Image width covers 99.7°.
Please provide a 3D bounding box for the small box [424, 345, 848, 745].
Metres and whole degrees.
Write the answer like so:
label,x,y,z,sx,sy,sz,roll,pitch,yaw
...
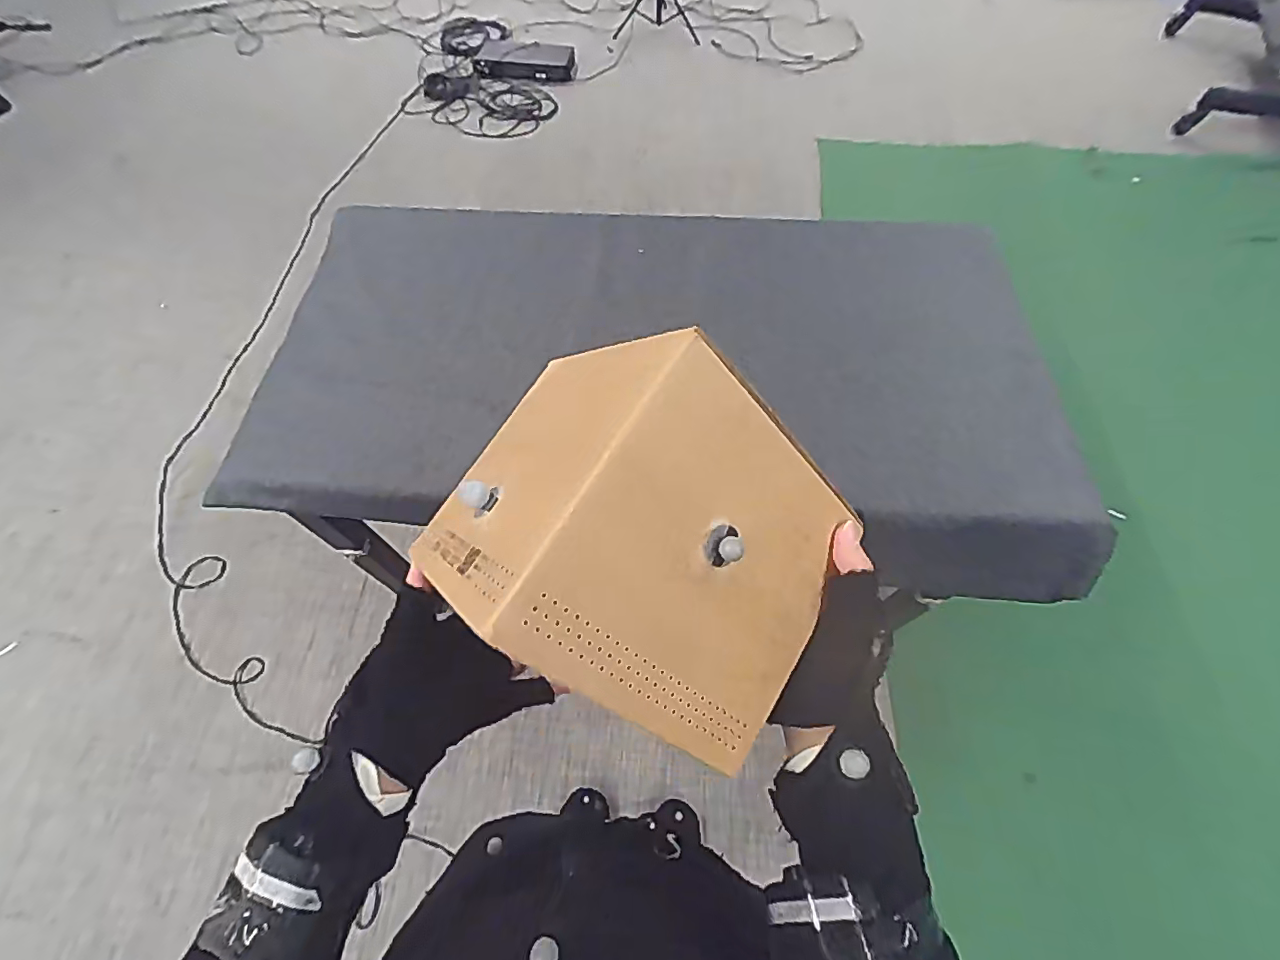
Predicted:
label,x,y,z,sx,sy,sz,roll,pitch,yaw
small box,-0.006,0.041,0.355,0.168,0.179,0.176,9,63,57
